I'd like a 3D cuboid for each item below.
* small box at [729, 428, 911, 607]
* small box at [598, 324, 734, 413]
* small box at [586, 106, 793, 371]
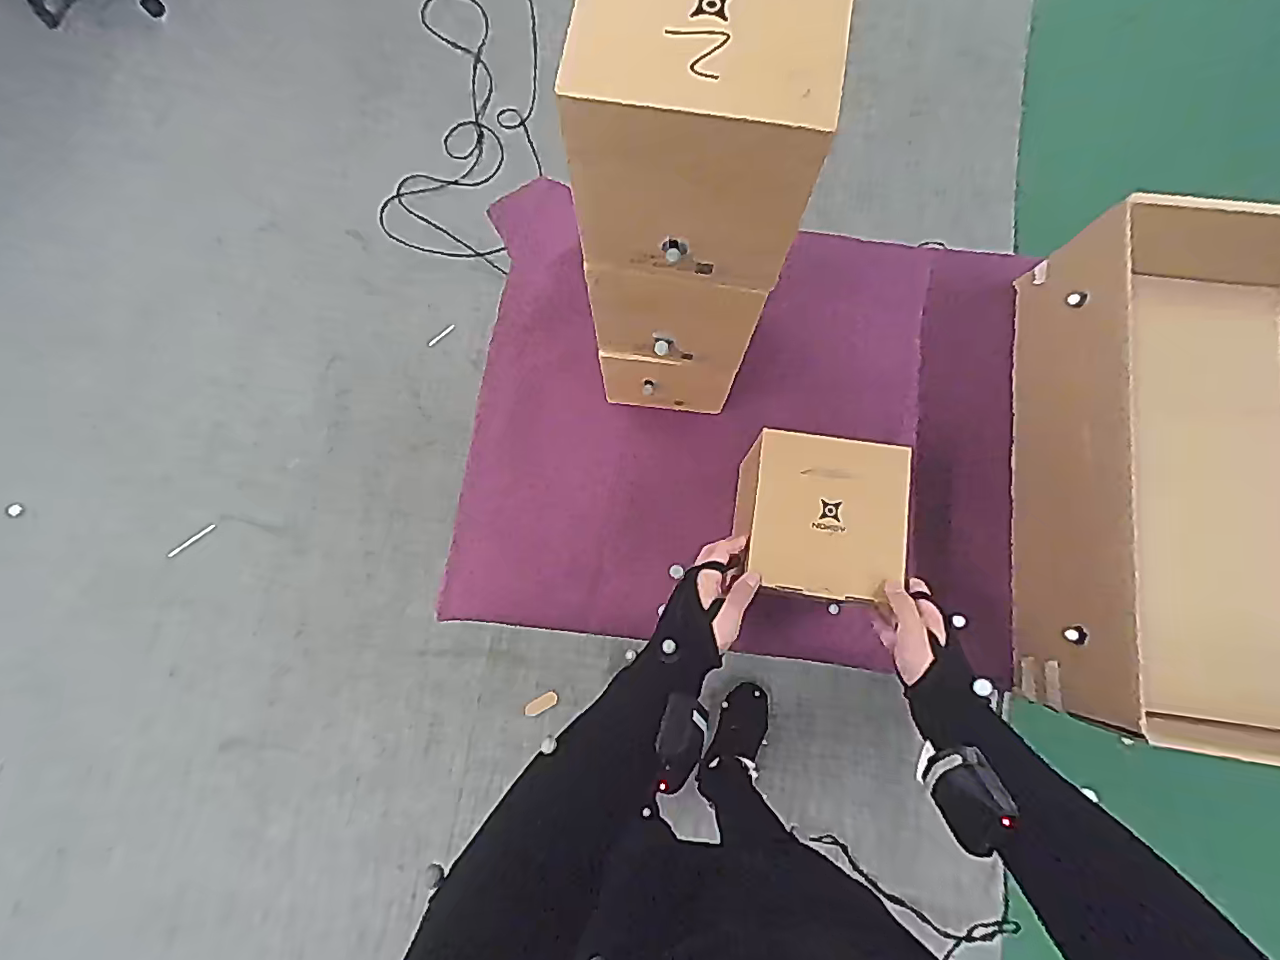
[{"bbox_3d":[0.206,0.054,0.660,0.168,0.176,0.179,9,77,4],"label":"small box"},{"bbox_3d":[0.044,-0.202,0.727,0.168,0.176,0.179,6,77,3],"label":"small box"},{"bbox_3d":[0.048,-0.239,0.567,0.168,0.176,0.179,11,78,4],"label":"small box"}]
